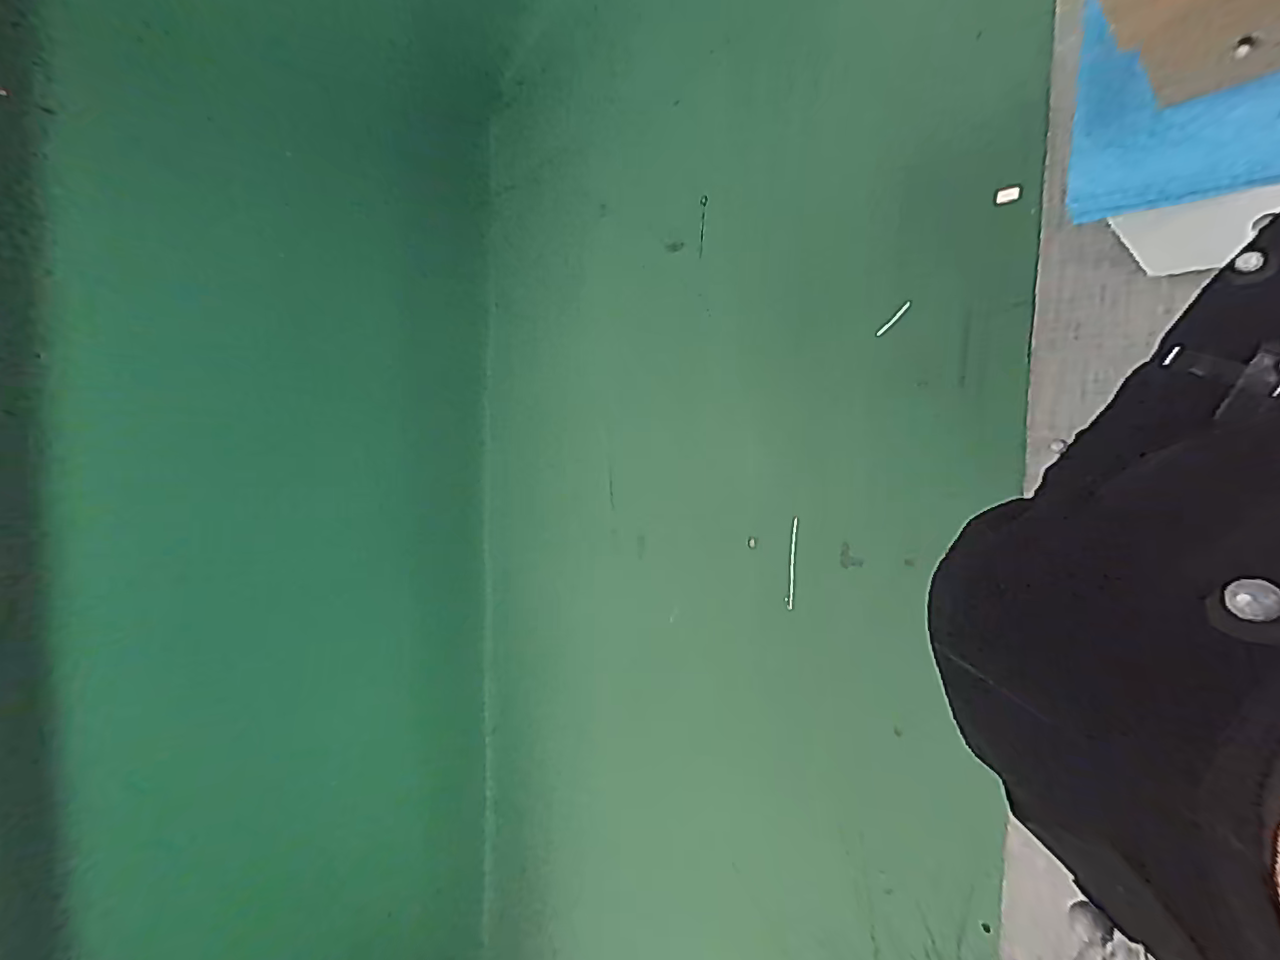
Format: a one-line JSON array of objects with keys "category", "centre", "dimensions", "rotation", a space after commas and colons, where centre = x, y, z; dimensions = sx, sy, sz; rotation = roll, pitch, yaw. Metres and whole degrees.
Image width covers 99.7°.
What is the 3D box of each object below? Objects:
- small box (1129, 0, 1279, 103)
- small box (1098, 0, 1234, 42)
[{"category": "small box", "centre": [0.652, -0.548, 0.568], "dimensions": [0.179, 0.176, 0.168], "rotation": [6, 95, 51]}, {"category": "small box", "centre": [0.519, -0.546, 0.471], "dimensions": [0.179, 0.176, 0.168], "rotation": [6, 95, 50]}]
